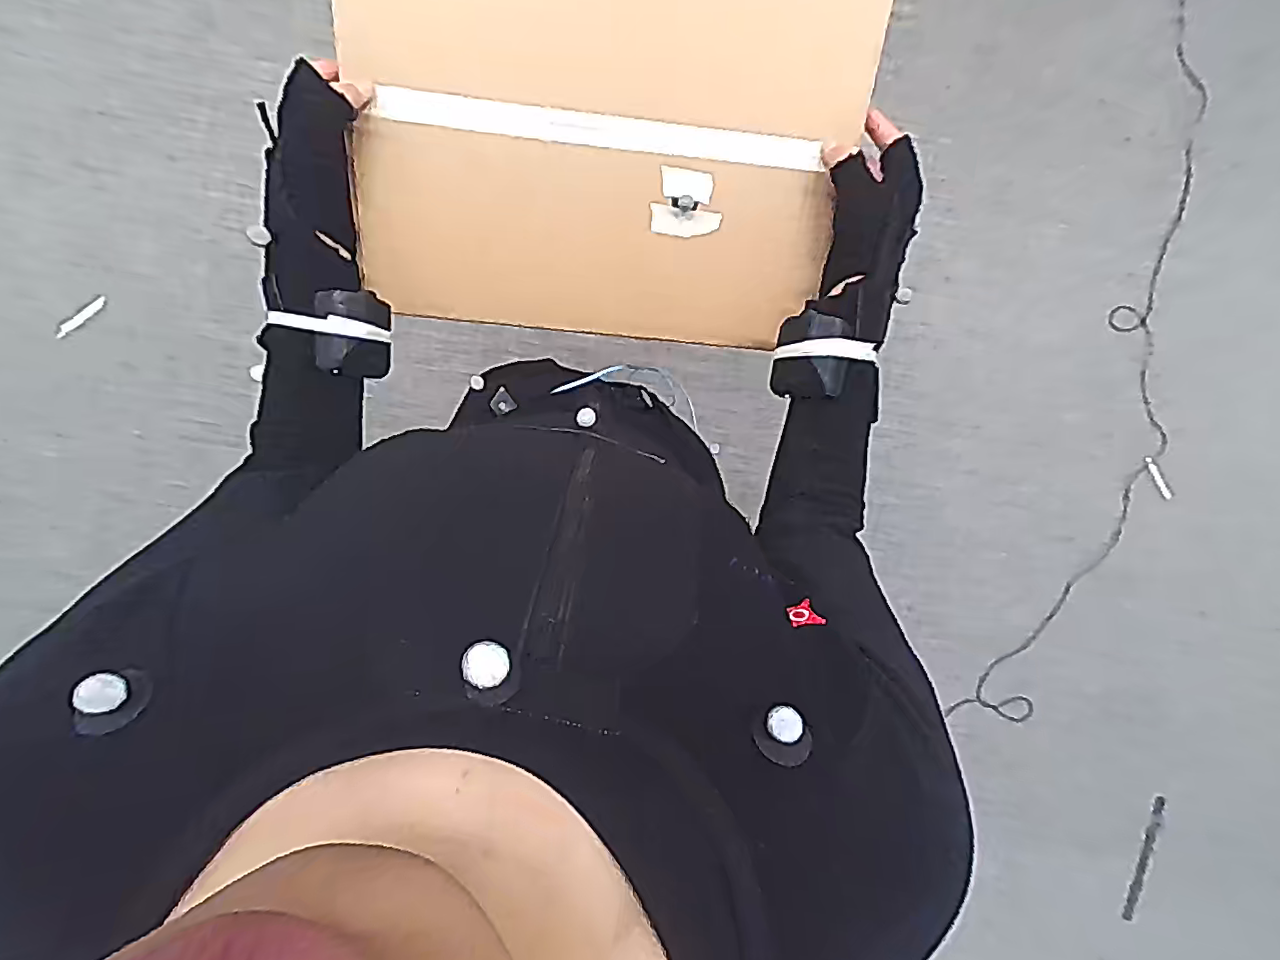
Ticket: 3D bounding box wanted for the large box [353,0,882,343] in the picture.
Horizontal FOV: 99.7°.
[{"bbox_3d":[-0.031,-0.339,0.577,0.408,0.320,0.320,4,114,-6],"label":"large box"}]
